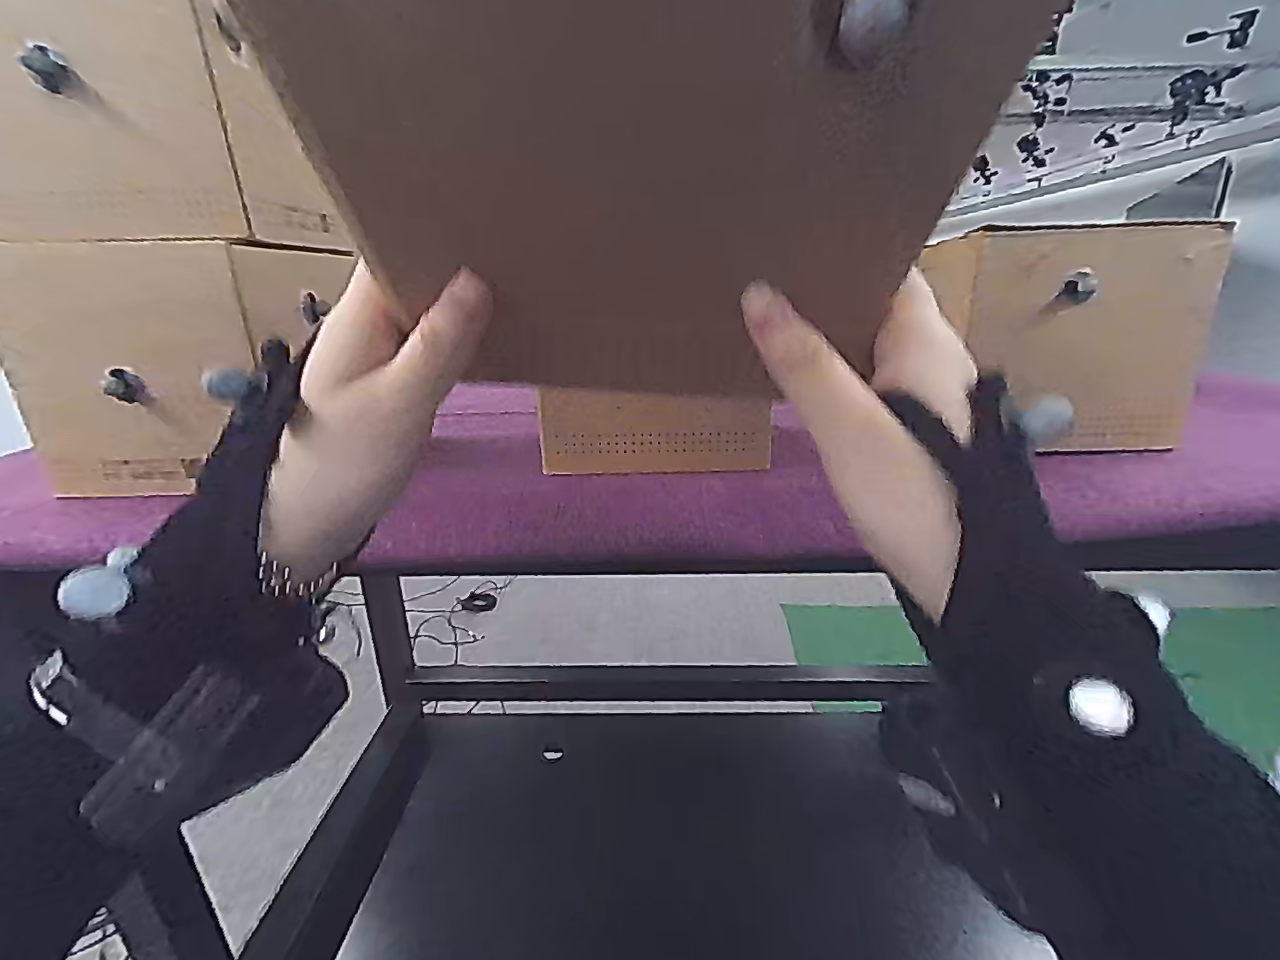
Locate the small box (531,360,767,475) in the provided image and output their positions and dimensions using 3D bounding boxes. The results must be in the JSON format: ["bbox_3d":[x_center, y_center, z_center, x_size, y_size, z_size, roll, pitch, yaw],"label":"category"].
[{"bbox_3d":[0.008,-0.109,0.456,0.179,0.176,0.168,-3,19,0],"label":"small box"}]

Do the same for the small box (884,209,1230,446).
[{"bbox_3d":[0.330,-0.127,0.474,0.179,0.176,0.168,-1,18,3],"label":"small box"}]

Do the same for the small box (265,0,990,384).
[{"bbox_3d":[-0.003,-0.150,0.190,0.179,0.176,0.168,3,63,0],"label":"small box"}]

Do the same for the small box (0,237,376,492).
[{"bbox_3d":[-0.333,-0.095,0.430,0.168,0.176,0.179,-1,20,-1],"label":"small box"}]
